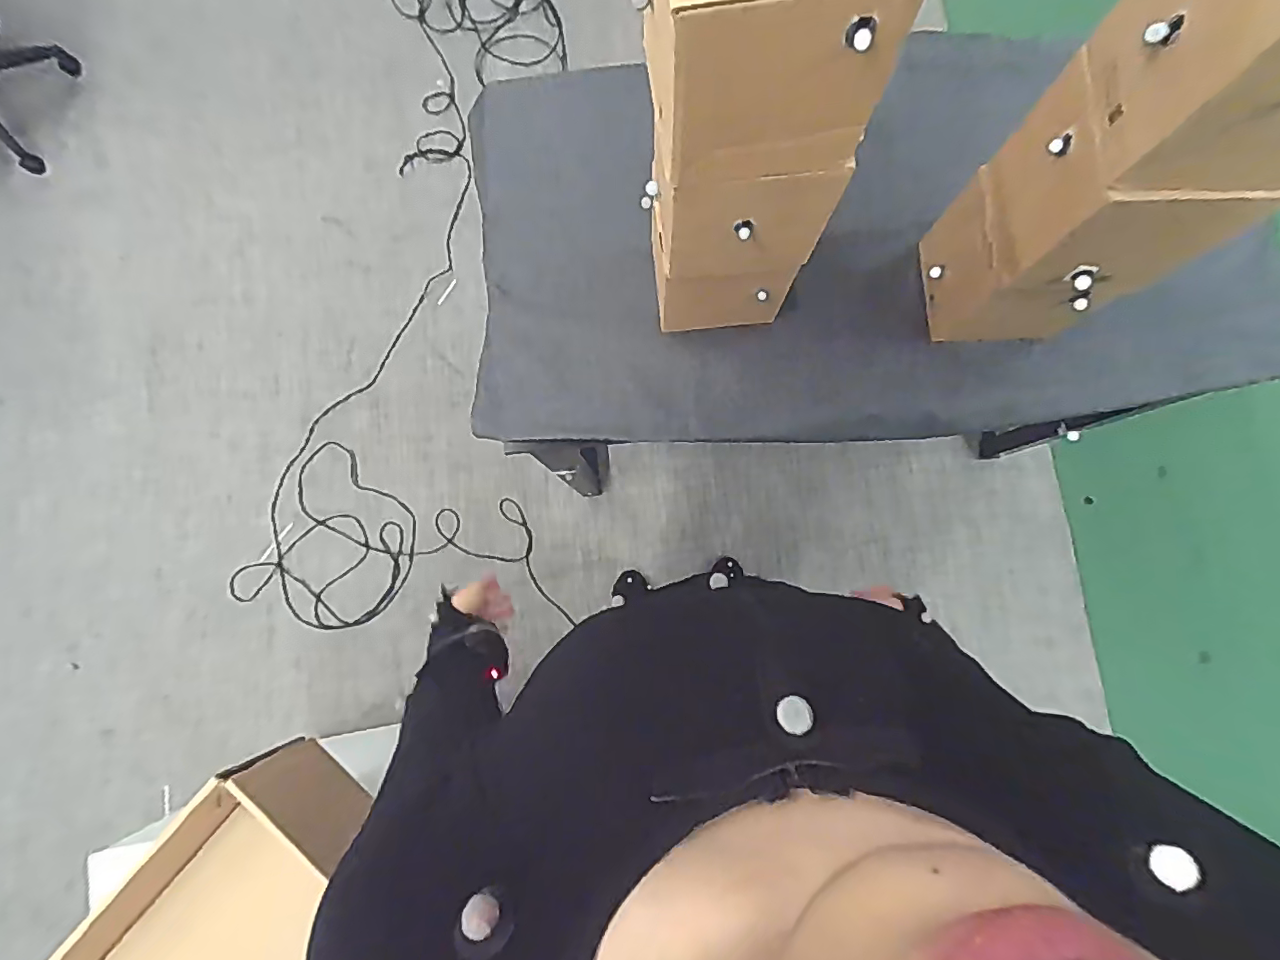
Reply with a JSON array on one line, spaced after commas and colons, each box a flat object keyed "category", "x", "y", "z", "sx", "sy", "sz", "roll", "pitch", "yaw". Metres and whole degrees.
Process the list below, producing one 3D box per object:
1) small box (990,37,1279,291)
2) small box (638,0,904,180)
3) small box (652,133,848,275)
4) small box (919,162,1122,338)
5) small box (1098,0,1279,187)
[{"category": "small box", "x": 0.507, "y": -0.325, "z": 0.579, "sx": 0.168, "sy": 0.176, "sz": 0.179, "roll": 0, "pitch": 82, "yaw": 4}, {"category": "small box", "x": 0.090, "y": -0.375, "z": 0.438, "sx": 0.179, "sy": 0.176, "sz": 0.168, "roll": -8, "pitch": 81, "yaw": 0}, {"category": "small box", "x": 0.106, "y": -0.349, "z": 0.598, "sx": 0.179, "sy": 0.176, "sz": 0.168, "roll": -6, "pitch": 81, "yaw": 2}, {"category": "small box", "x": 0.514, "y": -0.305, "z": 0.740, "sx": 0.179, "sy": 0.176, "sz": 0.168, "roll": -2, "pitch": 80, "yaw": 2}, {"category": "small box", "x": 0.501, "y": -0.354, "z": 0.418, "sx": 0.179, "sy": 0.176, "sz": 0.168, "roll": 2, "pitch": 81, "yaw": 4}]
